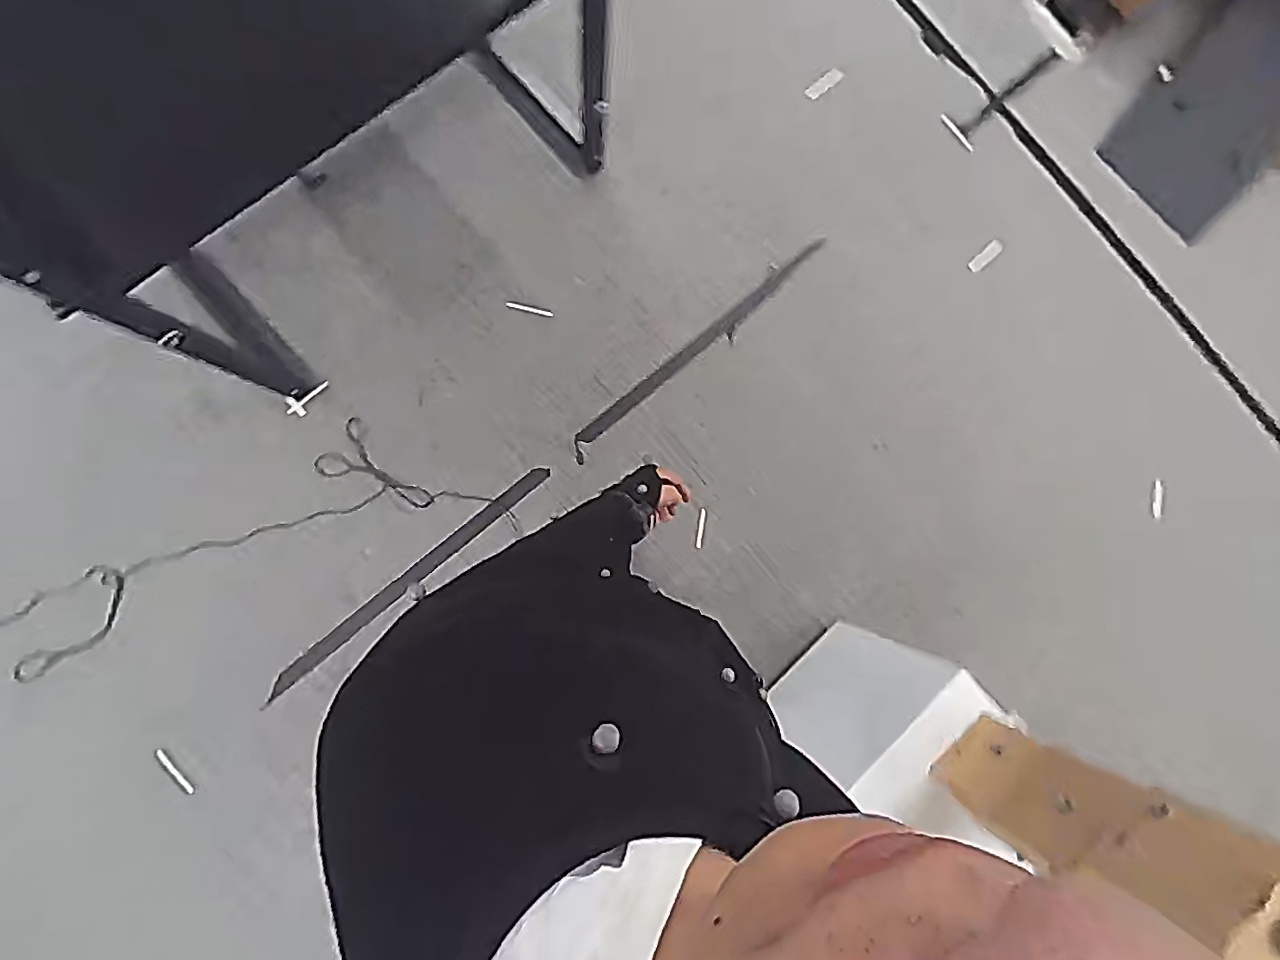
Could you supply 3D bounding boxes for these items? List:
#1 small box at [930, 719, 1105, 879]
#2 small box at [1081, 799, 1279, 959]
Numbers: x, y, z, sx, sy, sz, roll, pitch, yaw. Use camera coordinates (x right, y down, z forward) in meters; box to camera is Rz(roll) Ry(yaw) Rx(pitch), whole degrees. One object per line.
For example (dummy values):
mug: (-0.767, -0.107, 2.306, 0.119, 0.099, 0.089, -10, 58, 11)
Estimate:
small box: (0.703, 0.587, 1.029, 0.168, 0.176, 0.179, -41, 92, -7)
small box: (0.742, 0.557, 0.704, 0.168, 0.176, 0.179, -38, 92, -7)
